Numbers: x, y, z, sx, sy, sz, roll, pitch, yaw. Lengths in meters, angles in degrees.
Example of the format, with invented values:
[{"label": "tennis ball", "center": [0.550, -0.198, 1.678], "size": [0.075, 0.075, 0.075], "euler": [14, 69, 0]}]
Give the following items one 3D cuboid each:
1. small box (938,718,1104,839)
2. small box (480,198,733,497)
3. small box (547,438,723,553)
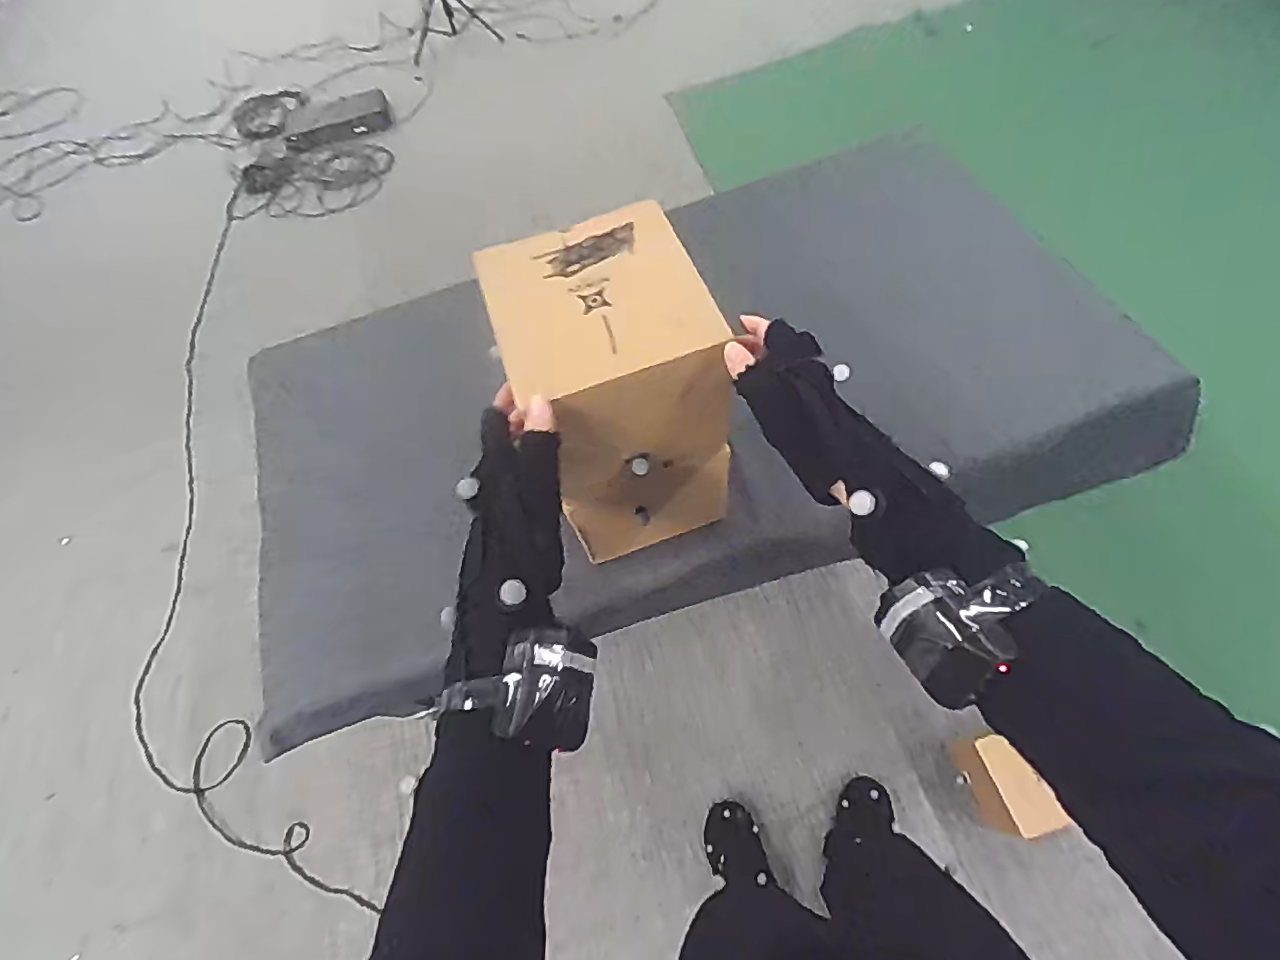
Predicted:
[{"label": "small box", "center": [0.734, 0.579, 1.066], "size": [0.179, 0.176, 0.168], "euler": [-17, 62, 0]}, {"label": "small box", "center": [-0.027, -0.112, 0.494], "size": [0.168, 0.176, 0.179], "euler": [-19, 62, -3]}, {"label": "small box", "center": [-0.011, -0.033, 0.639], "size": [0.179, 0.176, 0.168], "euler": [-19, 63, -3]}]
